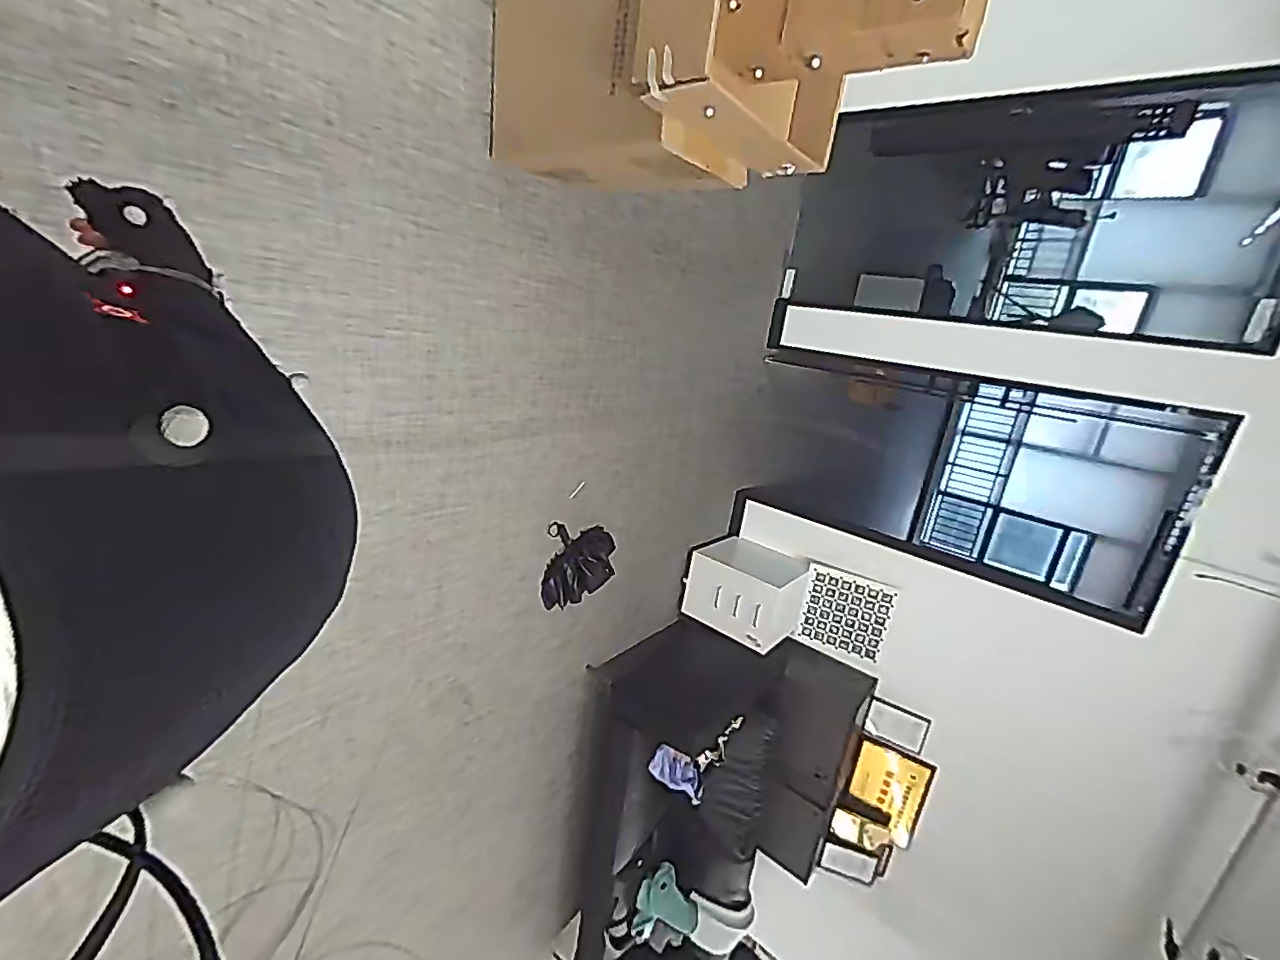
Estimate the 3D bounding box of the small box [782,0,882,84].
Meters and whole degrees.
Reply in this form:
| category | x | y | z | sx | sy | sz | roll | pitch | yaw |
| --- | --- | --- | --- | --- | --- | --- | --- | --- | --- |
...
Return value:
| category | x | y | z | sx | sy | sz | roll | pitch | yaw |
| --- | --- | --- | --- | --- | --- | --- | --- | --- | --- |
| small box | 0.405 | -0.939 | 1.090 | 0.168 | 0.176 | 0.179 | -11 | 117 | -52 |

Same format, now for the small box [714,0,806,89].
| category | x | y | z | sx | sy | sz | roll | pitch | yaw |
| --- | --- | --- | --- | --- | --- | --- | --- | --- | --- |
| small box | 0.280 | -0.988 | 1.183 | 0.168 | 0.176 | 0.179 | -16 | 120 | -52 |

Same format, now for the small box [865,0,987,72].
| category | x | y | z | sx | sy | sz | roll | pitch | yaw |
| --- | --- | --- | --- | --- | --- | --- | --- | --- | --- |
| small box | 0.532 | -0.892 | 1.000 | 0.168 | 0.176 | 0.179 | -17 | 119 | -52 |
